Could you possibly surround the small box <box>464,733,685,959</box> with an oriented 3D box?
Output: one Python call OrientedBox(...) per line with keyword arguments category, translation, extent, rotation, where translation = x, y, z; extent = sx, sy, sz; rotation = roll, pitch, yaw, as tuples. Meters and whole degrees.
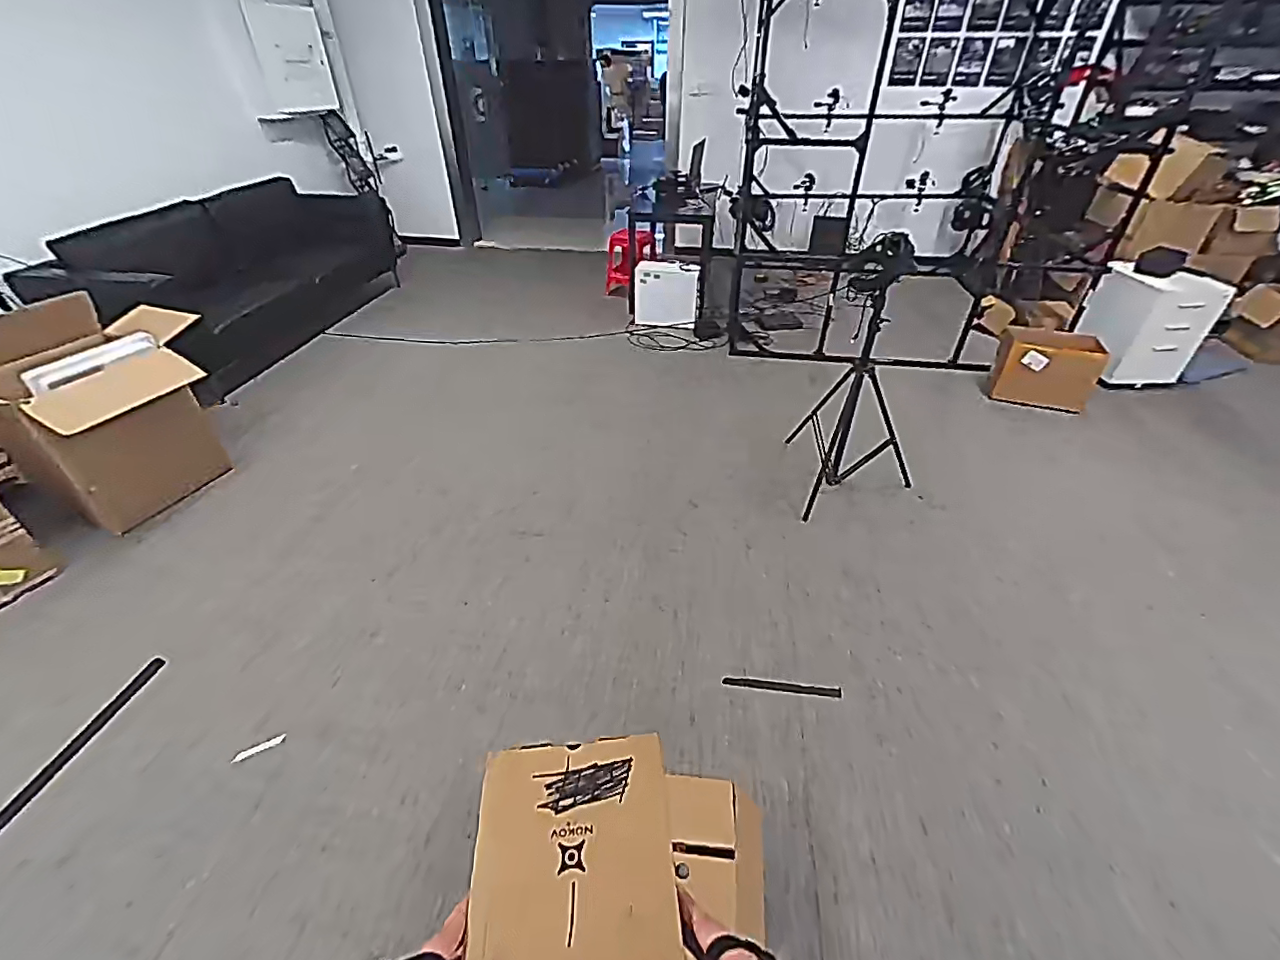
OrientedBox(category="small box", translation=(-0.053, 0.368, 0.508), extent=(0.168, 0.176, 0.179), rotation=(-5, 39, -3))
